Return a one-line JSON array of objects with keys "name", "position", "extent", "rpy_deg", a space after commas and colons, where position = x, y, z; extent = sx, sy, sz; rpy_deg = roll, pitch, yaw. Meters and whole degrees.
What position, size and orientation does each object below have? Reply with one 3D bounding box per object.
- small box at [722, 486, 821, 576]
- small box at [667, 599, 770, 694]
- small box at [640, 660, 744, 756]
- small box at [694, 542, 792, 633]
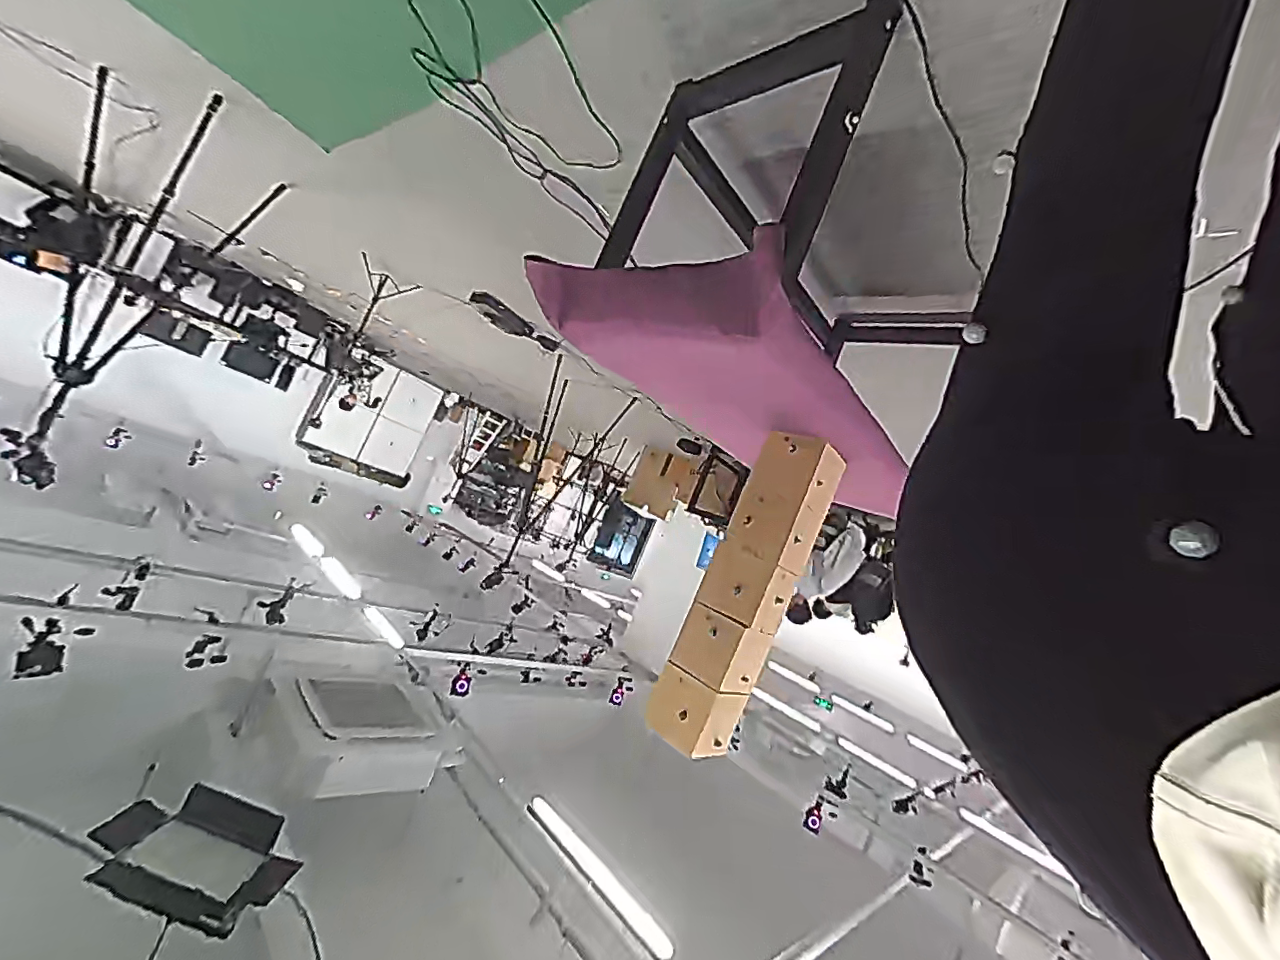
[{"name": "small box", "position": [0.345, 0.129, 1.408], "extent": [0.168, 0.176, 0.179], "rpy_deg": [20, 174, 40]}, {"name": "small box", "position": [0.206, 0.424, 1.385], "extent": [0.168, 0.176, 0.179], "rpy_deg": [20, 172, 42]}, {"name": "small box", "position": [0.135, 0.569, 1.368], "extent": [0.168, 0.176, 0.179], "rpy_deg": [20, 174, 41]}, {"name": "small box", "position": [0.275, 0.275, 1.398], "extent": [0.179, 0.176, 0.168], "rpy_deg": [19, 172, 40]}]
